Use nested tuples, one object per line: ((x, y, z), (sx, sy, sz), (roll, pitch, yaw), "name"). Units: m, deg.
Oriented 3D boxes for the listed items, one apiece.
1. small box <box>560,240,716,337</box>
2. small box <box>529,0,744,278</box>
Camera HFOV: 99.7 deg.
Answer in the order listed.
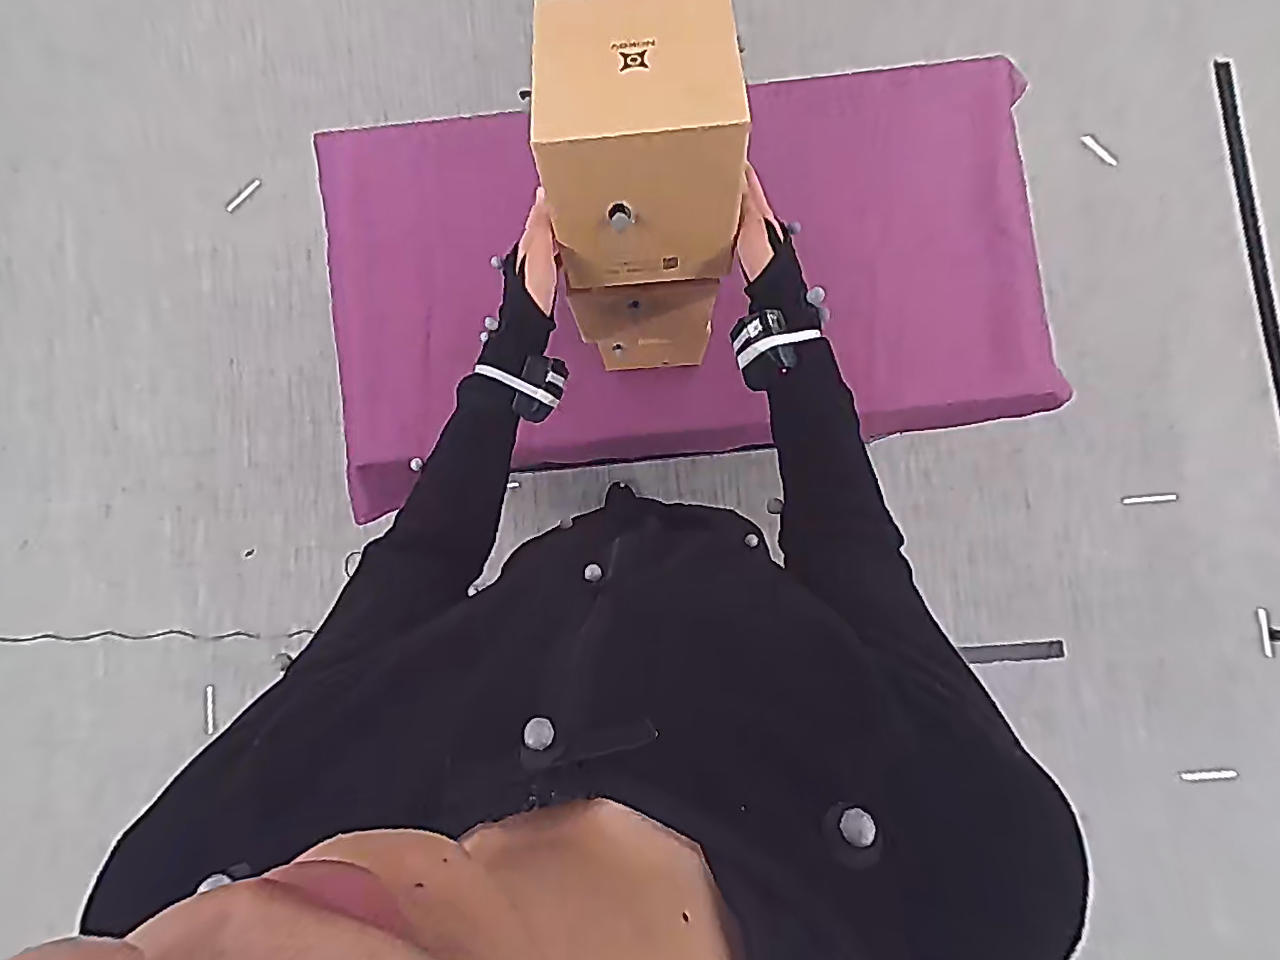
((-0.002, -0.290, 0.687), (0.179, 0.176, 0.168), (-3, 86, 1), "small box")
((0.001, -0.308, 0.502), (0.168, 0.176, 0.179), (-4, 69, 3), "small box")
